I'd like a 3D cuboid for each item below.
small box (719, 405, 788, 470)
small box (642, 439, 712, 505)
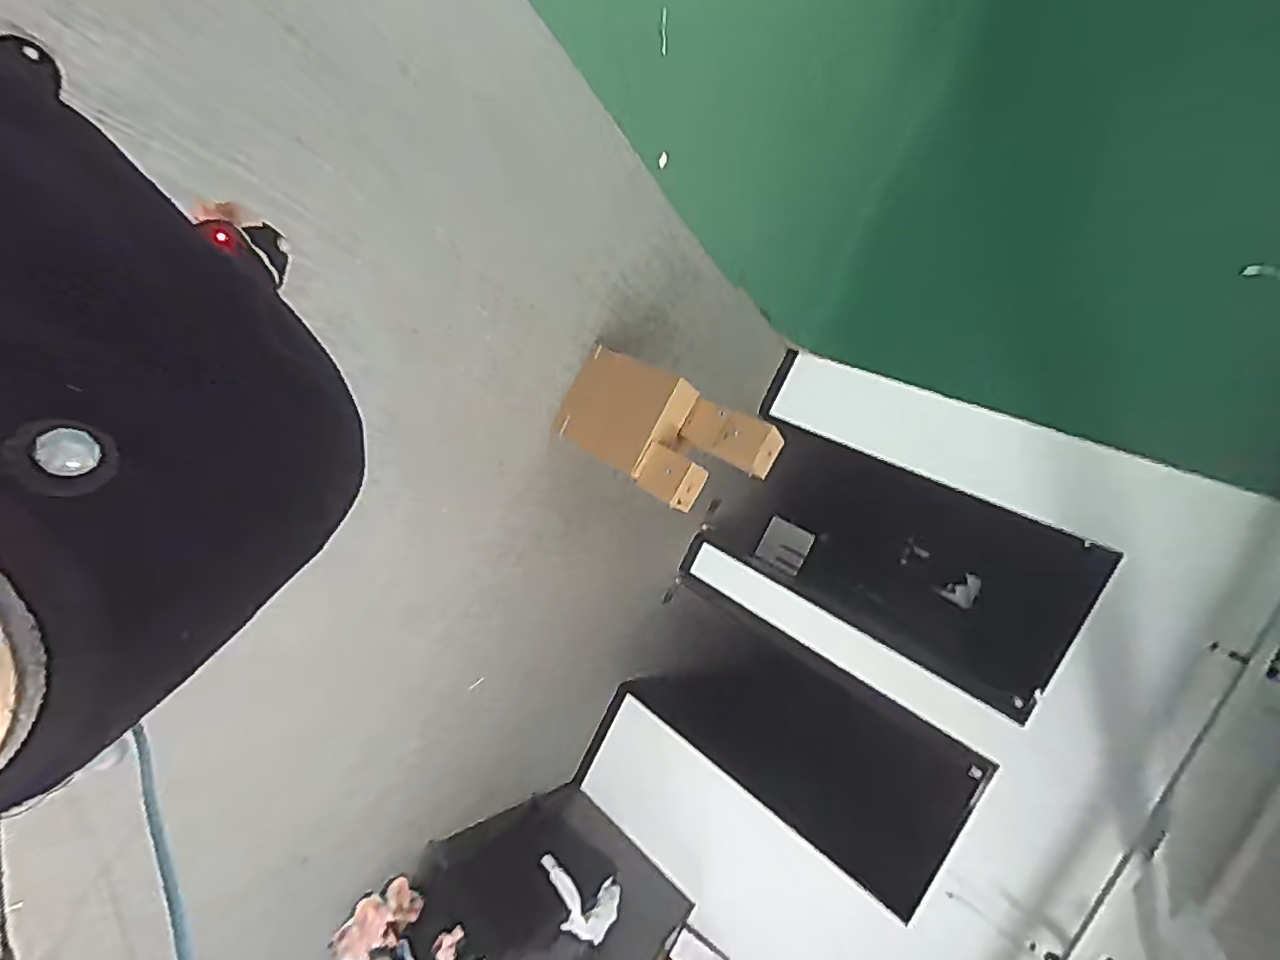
[{"bbox_3d":[0.422,-0.161,2.019,0.168,0.176,0.179,-61,148,-1],"label":"small box"},{"bbox_3d":[0.135,-0.032,2.023,0.168,0.176,0.179,26,93,-56],"label":"small box"}]
